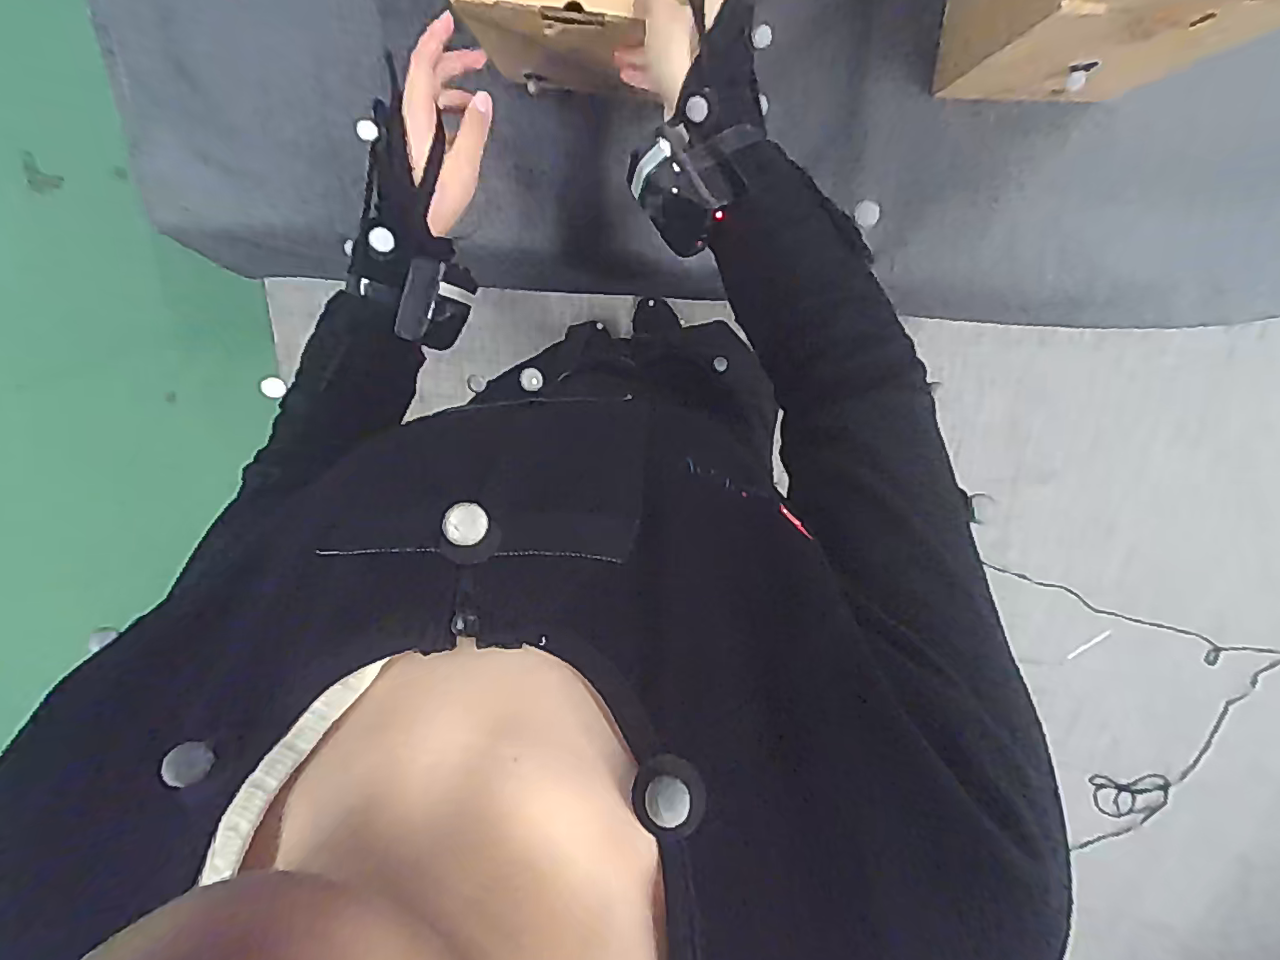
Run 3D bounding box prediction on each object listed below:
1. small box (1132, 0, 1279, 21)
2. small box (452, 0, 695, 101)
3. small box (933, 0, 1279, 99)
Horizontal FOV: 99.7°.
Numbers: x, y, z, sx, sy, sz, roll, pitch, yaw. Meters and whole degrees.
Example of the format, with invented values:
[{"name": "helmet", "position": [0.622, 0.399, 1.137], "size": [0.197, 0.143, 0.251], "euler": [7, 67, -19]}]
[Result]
[{"name": "small box", "position": [0.354, -0.358, 0.250], "size": [0.168, 0.176, 0.179], "euler": [4, 107, -1]}, {"name": "small box", "position": [-0.034, -0.415, 0.405], "size": [0.168, 0.176, 0.179], "euler": [6, 109, -2]}, {"name": "small box", "position": [0.350, -0.411, 0.404], "size": [0.168, 0.176, 0.179], "euler": [2, 109, -1]}]
